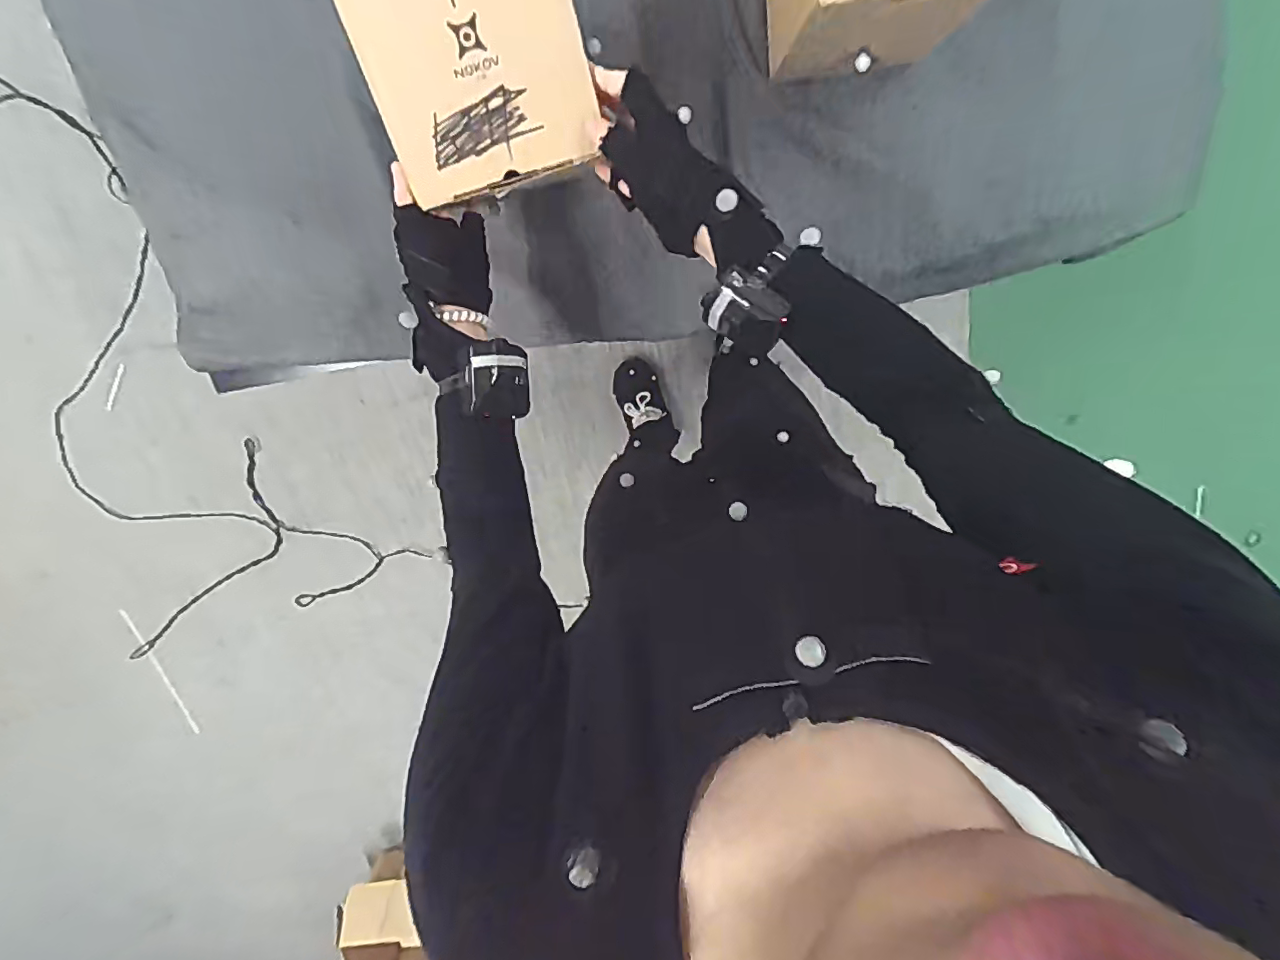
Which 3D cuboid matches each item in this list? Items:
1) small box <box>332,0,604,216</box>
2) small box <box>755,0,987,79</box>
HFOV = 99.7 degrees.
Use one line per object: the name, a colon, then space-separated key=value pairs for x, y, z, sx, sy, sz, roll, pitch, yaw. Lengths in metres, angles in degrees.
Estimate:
small box: x=-0.132 y=-0.350 z=0.481 sx=0.168 sy=0.176 sz=0.179 roll=-14 pitch=115 yaw=5
small box: x=0.204 y=-0.502 z=0.495 sx=0.168 sy=0.176 sz=0.179 roll=-3 pitch=111 yaw=1
